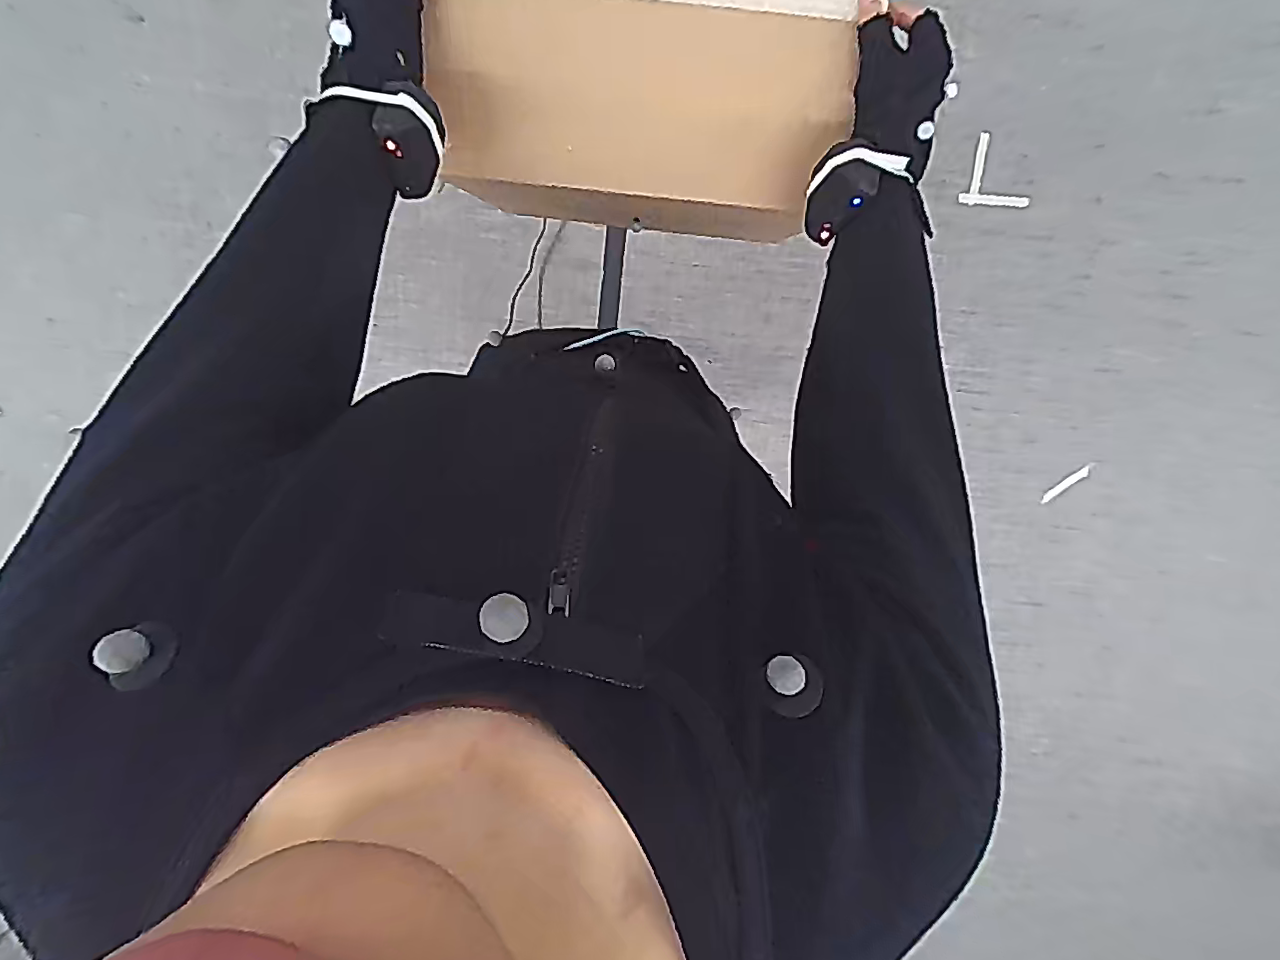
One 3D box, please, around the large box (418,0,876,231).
[{"bbox_3d":[0.013,-0.473,0.604,0.408,0.320,0.320,7,109,0],"label":"large box"}]
